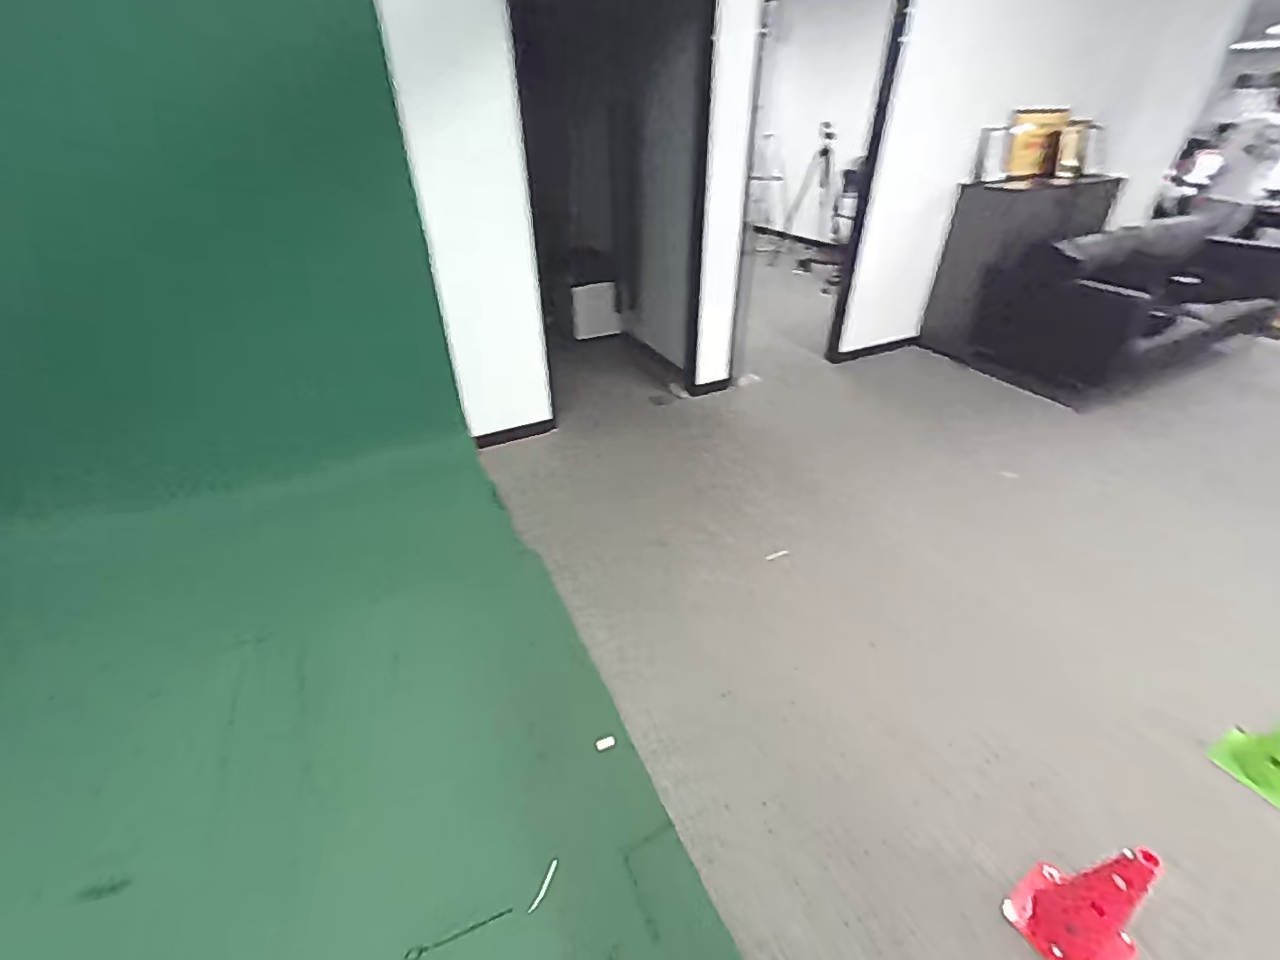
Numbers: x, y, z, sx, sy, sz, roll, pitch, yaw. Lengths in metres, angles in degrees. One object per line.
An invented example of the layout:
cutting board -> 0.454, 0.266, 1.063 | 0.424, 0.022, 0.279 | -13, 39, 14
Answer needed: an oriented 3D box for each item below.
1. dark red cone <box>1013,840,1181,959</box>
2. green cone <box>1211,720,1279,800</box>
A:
dark red cone -> 0.959, 0.828, 1.092 | 0.201, 0.394, 0.202 | -21, 39, -25
green cone -> 1.729, 0.640, 1.390 | 0.200, 0.368, 0.202 | -18, 39, -22
